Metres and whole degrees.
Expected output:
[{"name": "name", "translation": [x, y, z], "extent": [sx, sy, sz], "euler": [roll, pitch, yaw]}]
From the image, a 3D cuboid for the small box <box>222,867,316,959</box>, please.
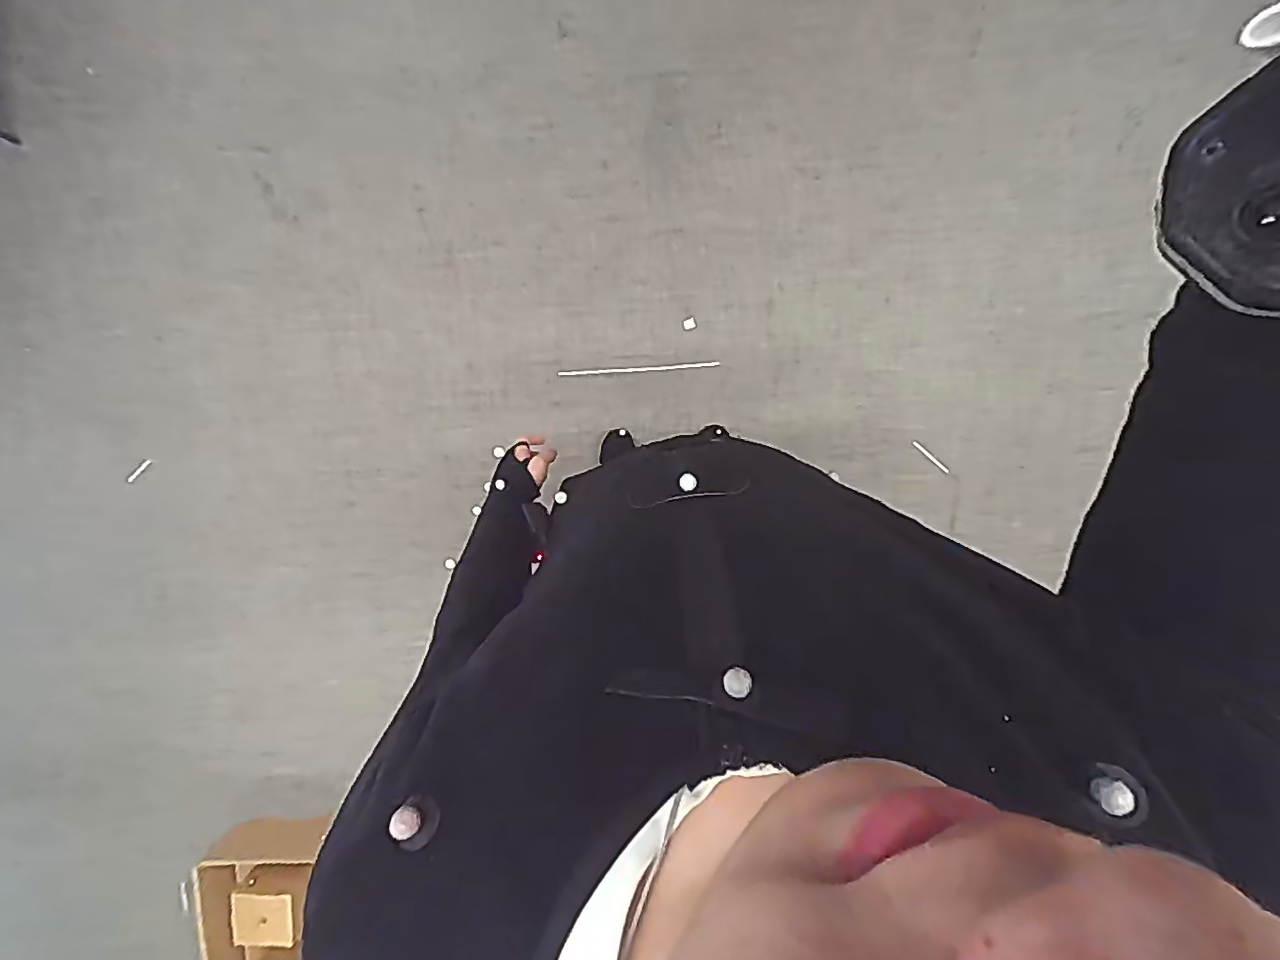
[{"name": "small box", "translation": [-1.087, 1.285, 1.599], "extent": [0.179, 0.176, 0.168], "euler": [2, 94, 1]}]
